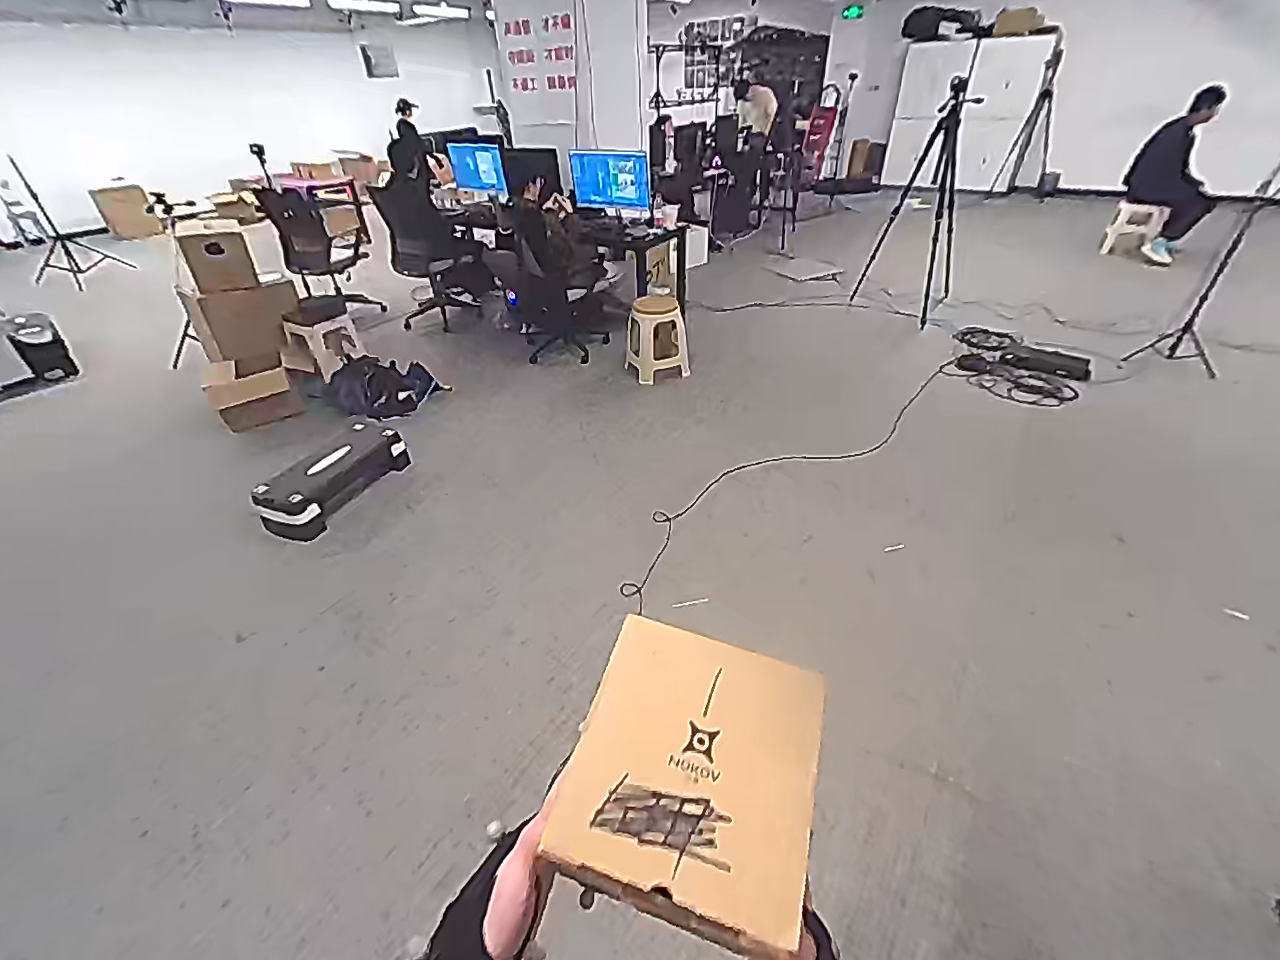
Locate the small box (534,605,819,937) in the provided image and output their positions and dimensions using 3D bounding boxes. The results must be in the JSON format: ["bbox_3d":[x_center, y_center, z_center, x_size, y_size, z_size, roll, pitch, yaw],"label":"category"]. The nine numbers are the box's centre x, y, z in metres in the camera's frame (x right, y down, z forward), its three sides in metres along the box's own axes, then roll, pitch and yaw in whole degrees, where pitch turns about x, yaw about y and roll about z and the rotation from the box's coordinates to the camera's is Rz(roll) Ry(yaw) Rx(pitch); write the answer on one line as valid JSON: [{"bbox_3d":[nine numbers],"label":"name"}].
[{"bbox_3d":[0.034,0.240,0.446,0.168,0.176,0.179,16,49,11],"label":"small box"}]
